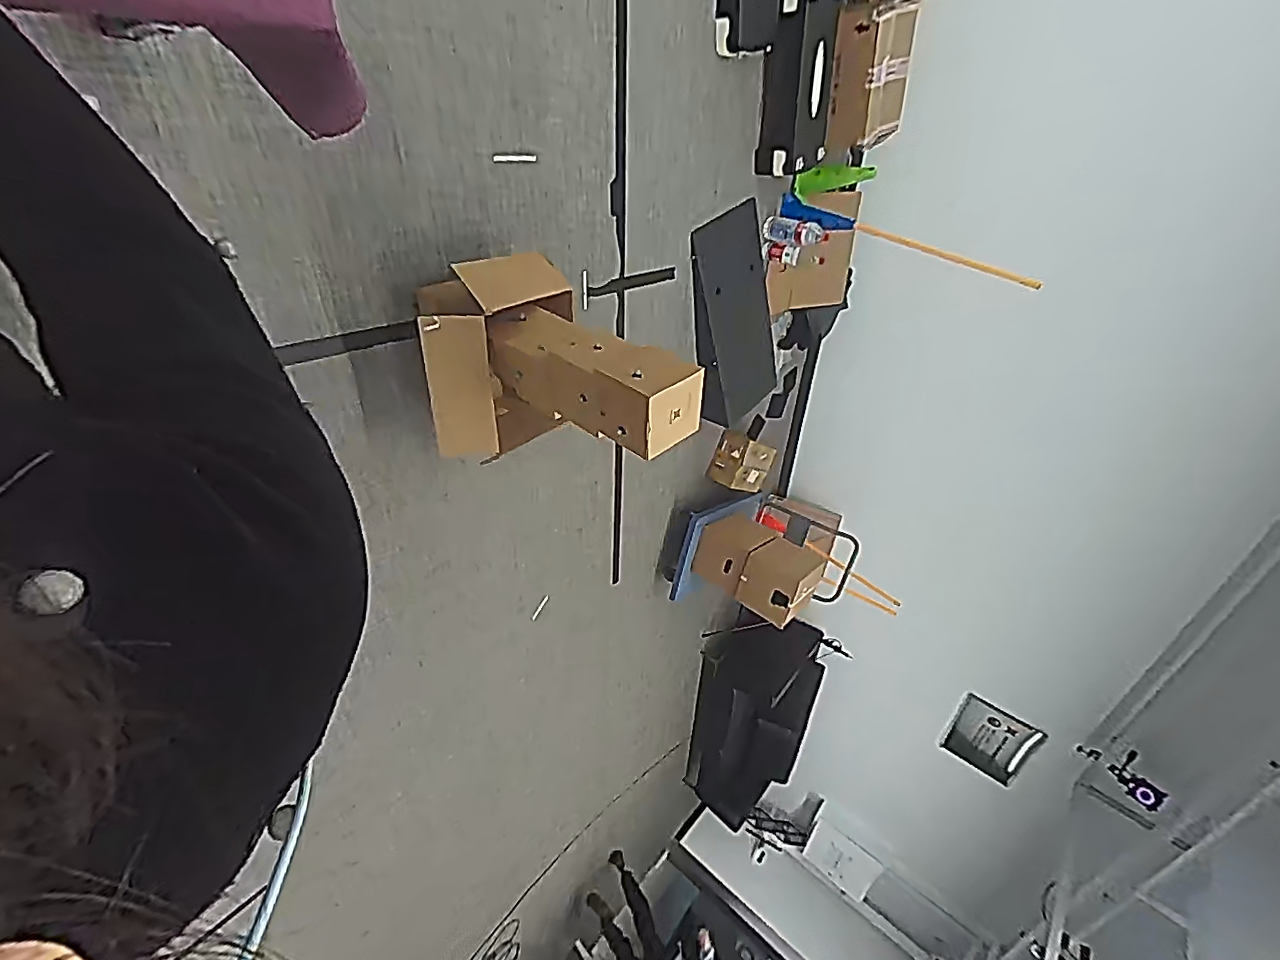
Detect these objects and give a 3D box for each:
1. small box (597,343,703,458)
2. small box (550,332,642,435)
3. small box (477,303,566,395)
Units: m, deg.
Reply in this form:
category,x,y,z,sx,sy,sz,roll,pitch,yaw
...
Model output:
category,x,y,z,sx,sy,sz,roll,pitch,yaw
small box,0.017,-0.183,1.206,0.179,0.176,0.168,-33,141,-34
small box,-0.101,-0.242,1.304,0.168,0.176,0.179,-33,141,-32
small box,-0.323,-0.374,1.509,0.168,0.176,0.179,-44,146,-22
